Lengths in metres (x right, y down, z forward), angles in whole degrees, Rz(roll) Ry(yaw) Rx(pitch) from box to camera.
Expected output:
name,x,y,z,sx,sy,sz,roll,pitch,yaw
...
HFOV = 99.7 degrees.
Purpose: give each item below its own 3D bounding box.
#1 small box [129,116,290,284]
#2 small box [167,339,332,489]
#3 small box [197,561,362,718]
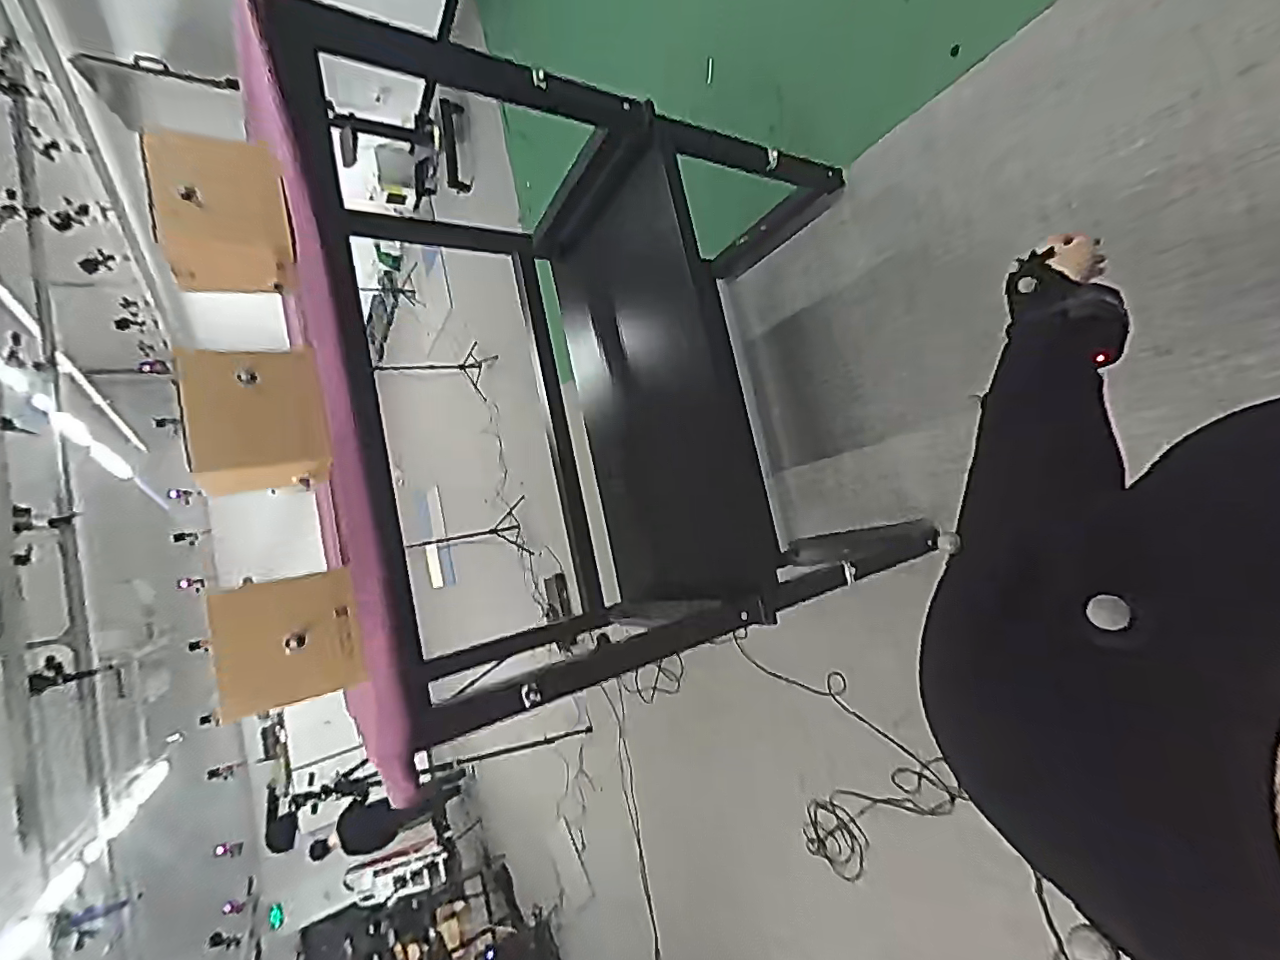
name,x,y,z,sx,sy,sz,roll,pitch,yaw
small box,-0.666,-0.428,0.859,0.168,0.176,0.179,-19,82,57
small box,-0.574,-0.095,0.808,0.168,0.176,0.179,-23,79,55
small box,-0.503,0.216,0.767,0.179,0.176,0.168,-22,78,54
